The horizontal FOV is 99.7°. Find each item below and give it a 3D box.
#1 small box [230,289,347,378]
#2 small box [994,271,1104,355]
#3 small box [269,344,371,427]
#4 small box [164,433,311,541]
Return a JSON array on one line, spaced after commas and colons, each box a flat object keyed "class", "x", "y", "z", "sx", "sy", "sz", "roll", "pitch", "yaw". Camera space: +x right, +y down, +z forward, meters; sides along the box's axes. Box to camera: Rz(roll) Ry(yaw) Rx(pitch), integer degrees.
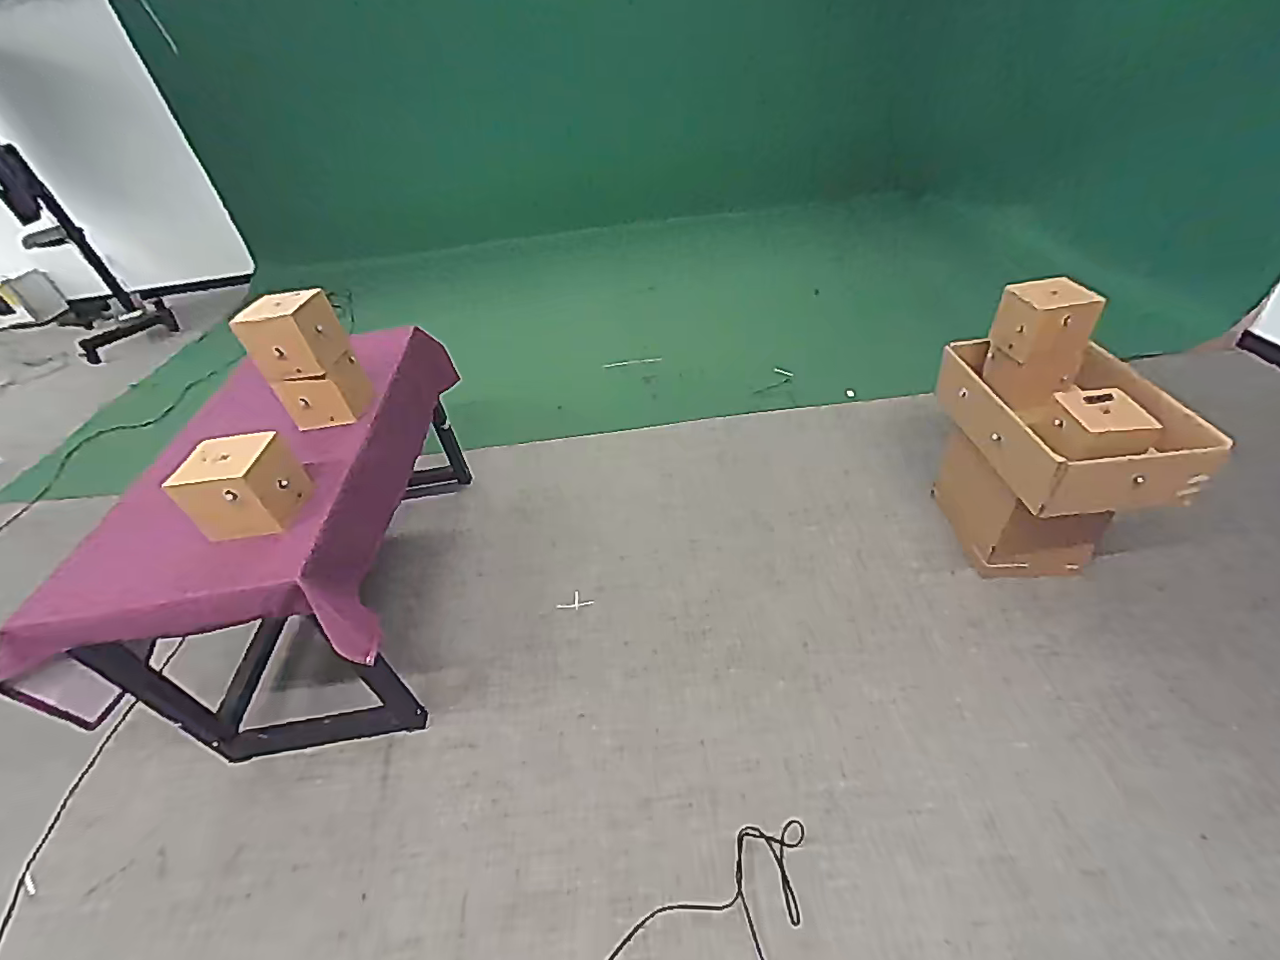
[{"class": "small box", "x": -0.916, "y": -0.382, "z": 1.431, "sx": 0.168, "sy": 0.176, "sz": 0.179, "roll": -6, "pitch": 41, "yaw": 4}, {"class": "small box", "x": 1.147, "y": -0.471, "z": 1.539, "sx": 0.179, "sy": 0.176, "sz": 0.168, "roll": -9, "pitch": 42, "yaw": 0}, {"class": "small box", "x": -0.900, "y": -0.263, "z": 1.544, "sx": 0.168, "sy": 0.176, "sz": 0.179, "roll": -9, "pitch": 41, "yaw": 1}, {"class": "small box", "x": -0.891, "y": 0.017, "z": 1.221, "sx": 0.179, "sy": 0.176, "sz": 0.168, "roll": -8, "pitch": 40, "yaw": 2}]
